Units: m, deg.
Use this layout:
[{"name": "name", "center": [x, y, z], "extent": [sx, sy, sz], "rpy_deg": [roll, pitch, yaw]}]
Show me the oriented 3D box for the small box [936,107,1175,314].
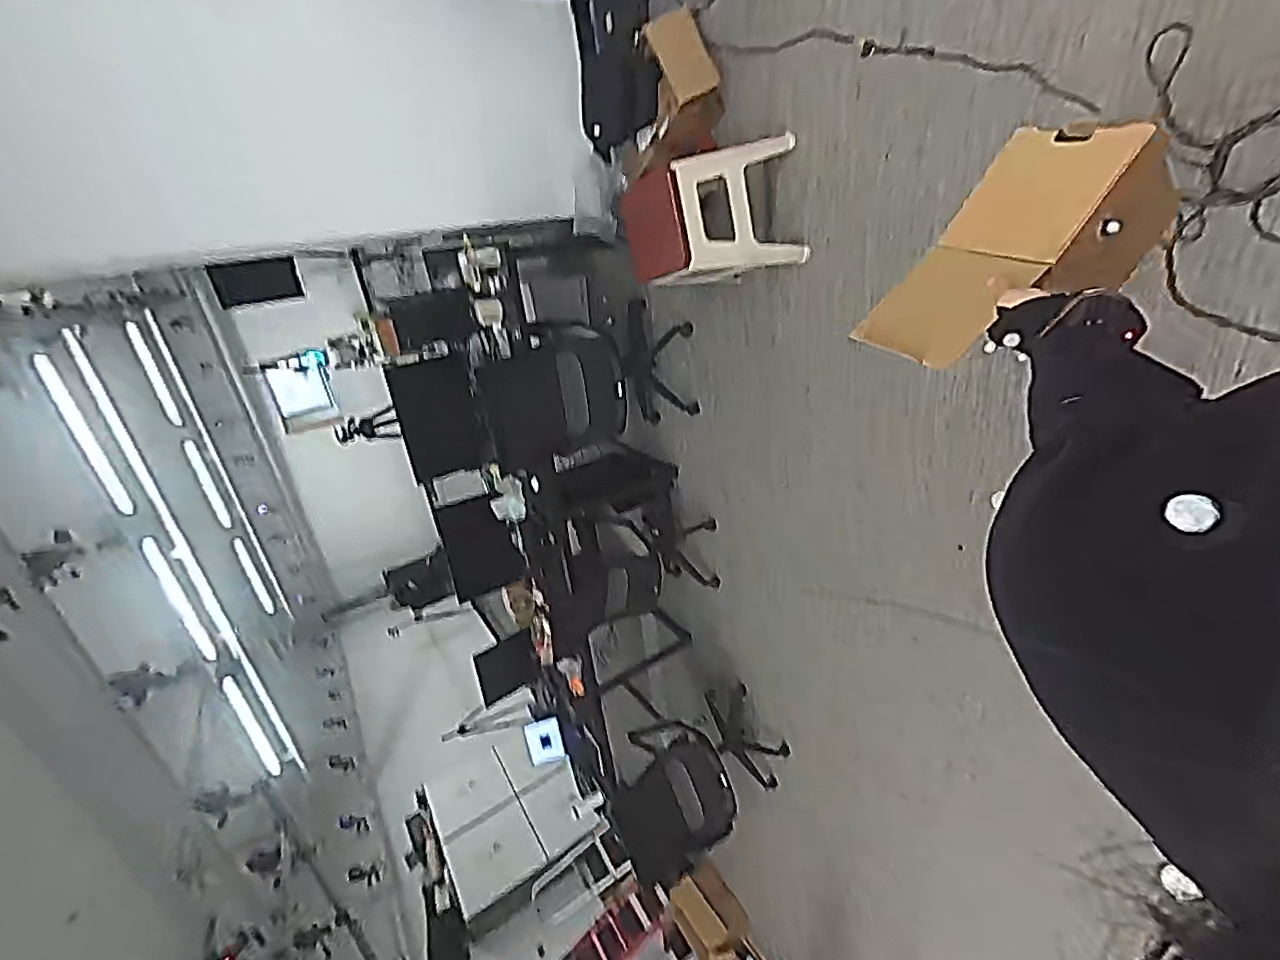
[{"name": "small box", "center": [0.543, -0.345, 0.709], "extent": [0.179, 0.176, 0.168], "rpy_deg": [-57, 39, 14]}]
